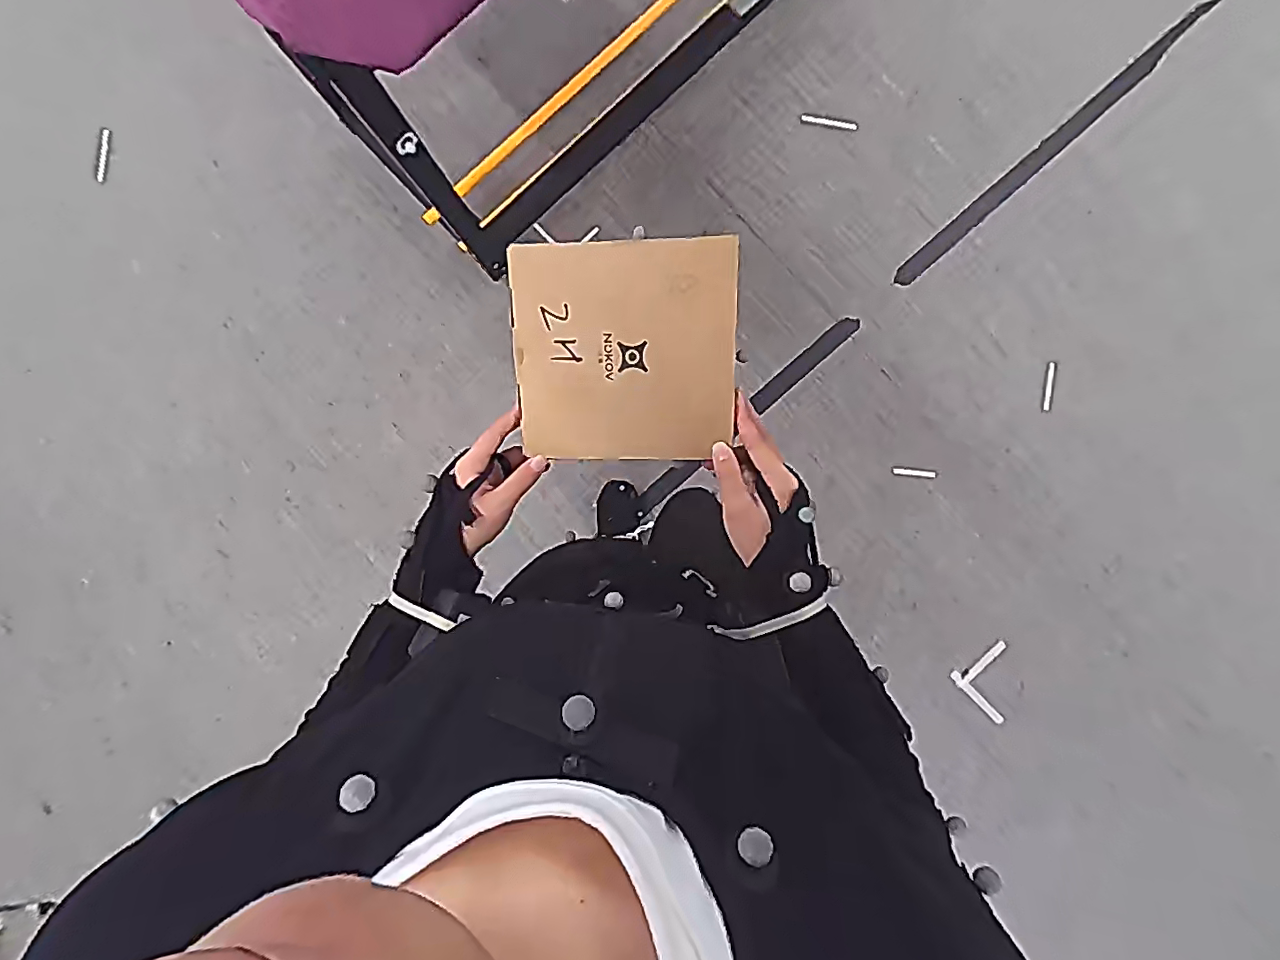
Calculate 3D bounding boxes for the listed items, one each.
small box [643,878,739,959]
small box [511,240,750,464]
[{"bbox_3d":[0.122,1.114,1.283,0.168,0.176,0.179,41,90,1],"label":"small box"},{"bbox_3d":[0.001,-0.115,0.484,0.179,0.176,0.168,2,106,8],"label":"small box"}]
